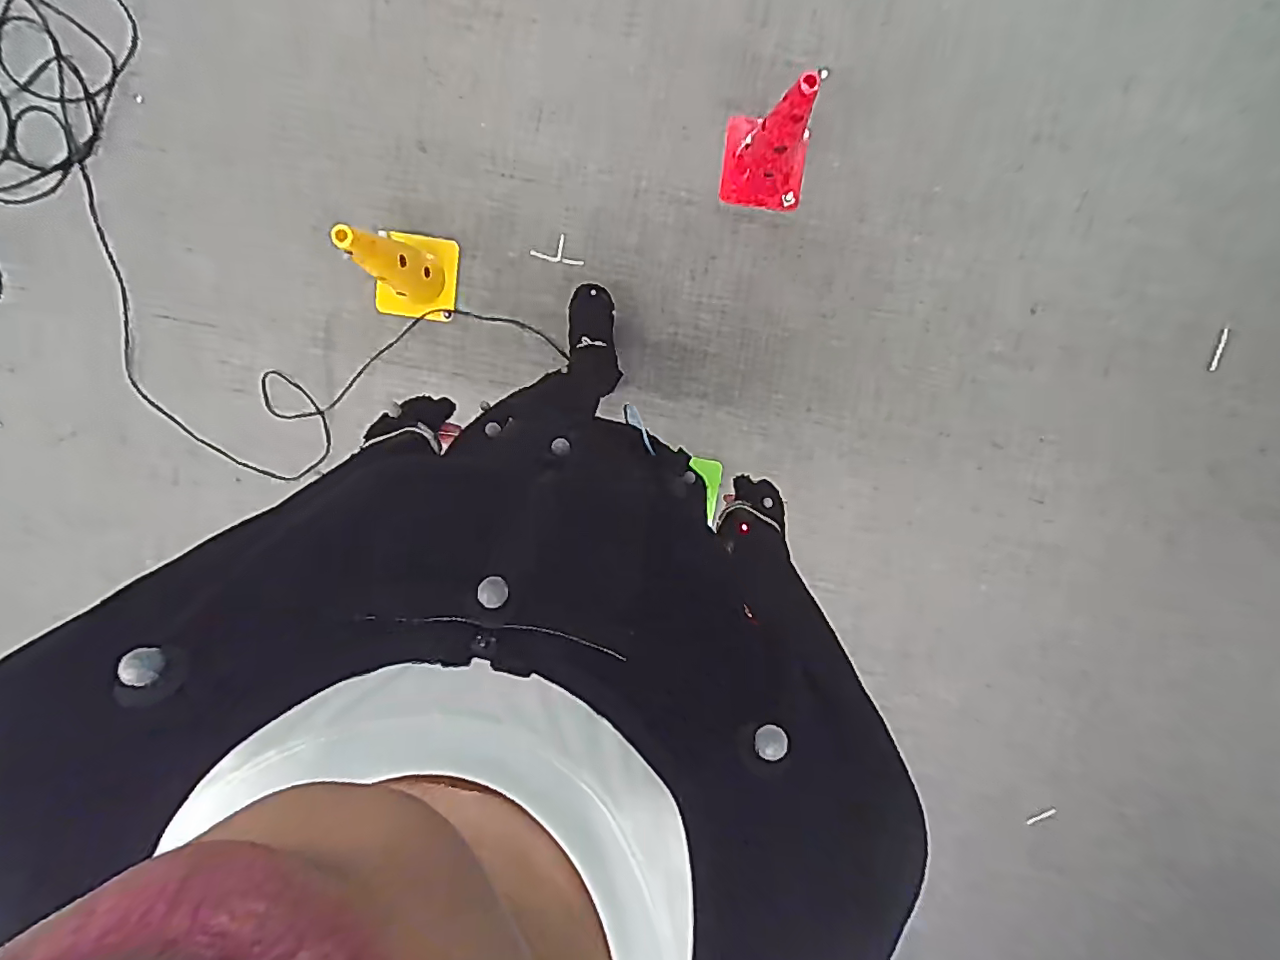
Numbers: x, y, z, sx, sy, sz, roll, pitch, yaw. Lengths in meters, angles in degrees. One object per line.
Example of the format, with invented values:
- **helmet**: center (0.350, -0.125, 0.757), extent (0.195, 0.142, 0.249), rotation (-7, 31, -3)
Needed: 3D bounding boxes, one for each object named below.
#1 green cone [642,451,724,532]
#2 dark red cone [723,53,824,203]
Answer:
- **green cone**: center (0.112, 0.056, 1.291), extent (0.202, 0.368, 0.200), rotation (10, 98, -1)
- **dark red cone**: center (0.307, -0.754, 1.140), extent (0.202, 0.394, 0.201), rotation (6, 97, -1)
